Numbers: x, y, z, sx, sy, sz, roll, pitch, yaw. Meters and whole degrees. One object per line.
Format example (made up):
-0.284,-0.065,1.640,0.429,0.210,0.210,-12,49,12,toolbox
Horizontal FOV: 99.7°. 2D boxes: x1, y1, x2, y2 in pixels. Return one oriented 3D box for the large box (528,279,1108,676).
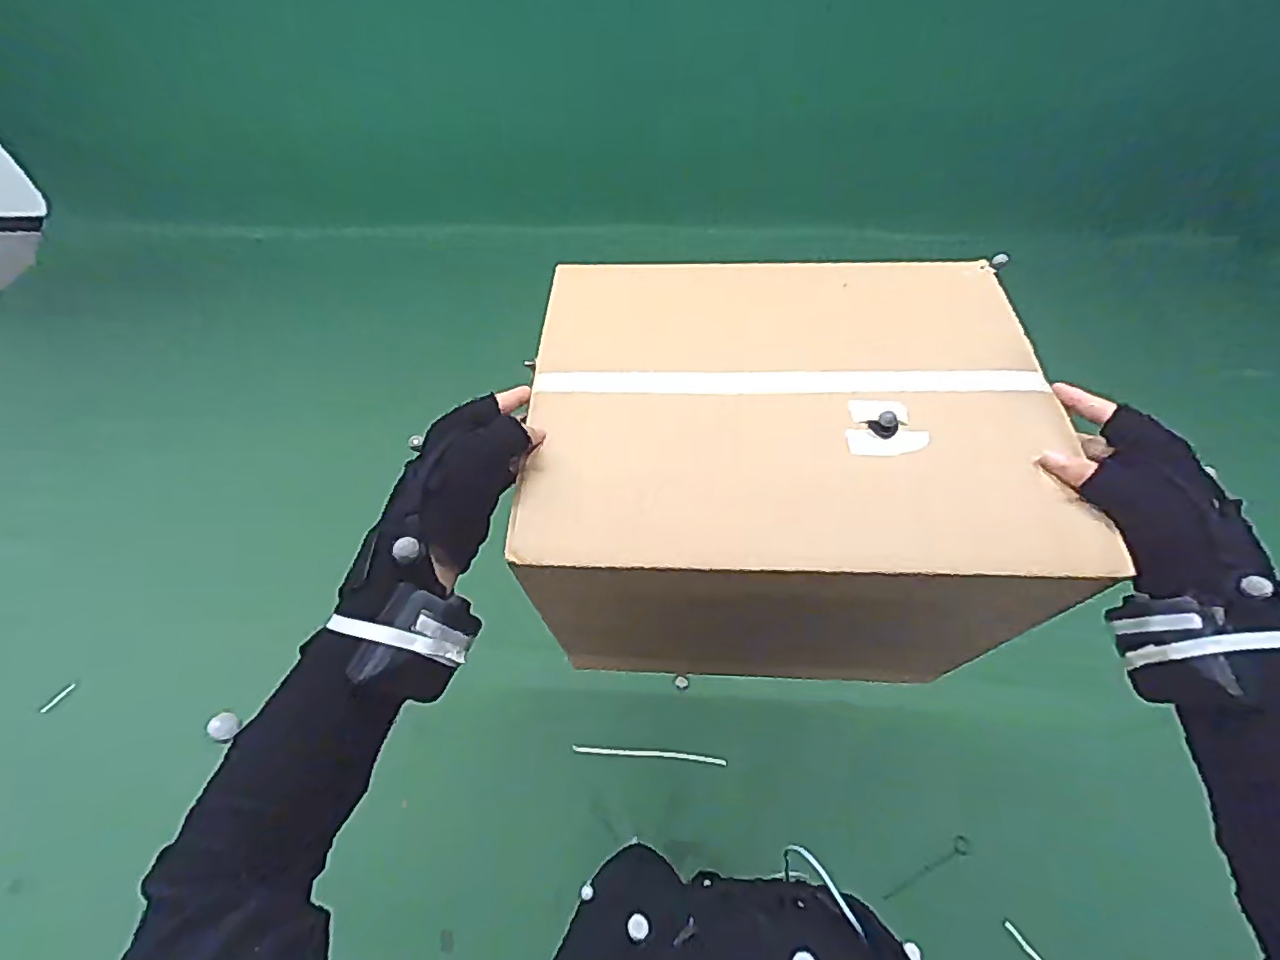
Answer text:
0.124,0.012,0.573,0.408,0.320,0.320,1,58,2,large box
